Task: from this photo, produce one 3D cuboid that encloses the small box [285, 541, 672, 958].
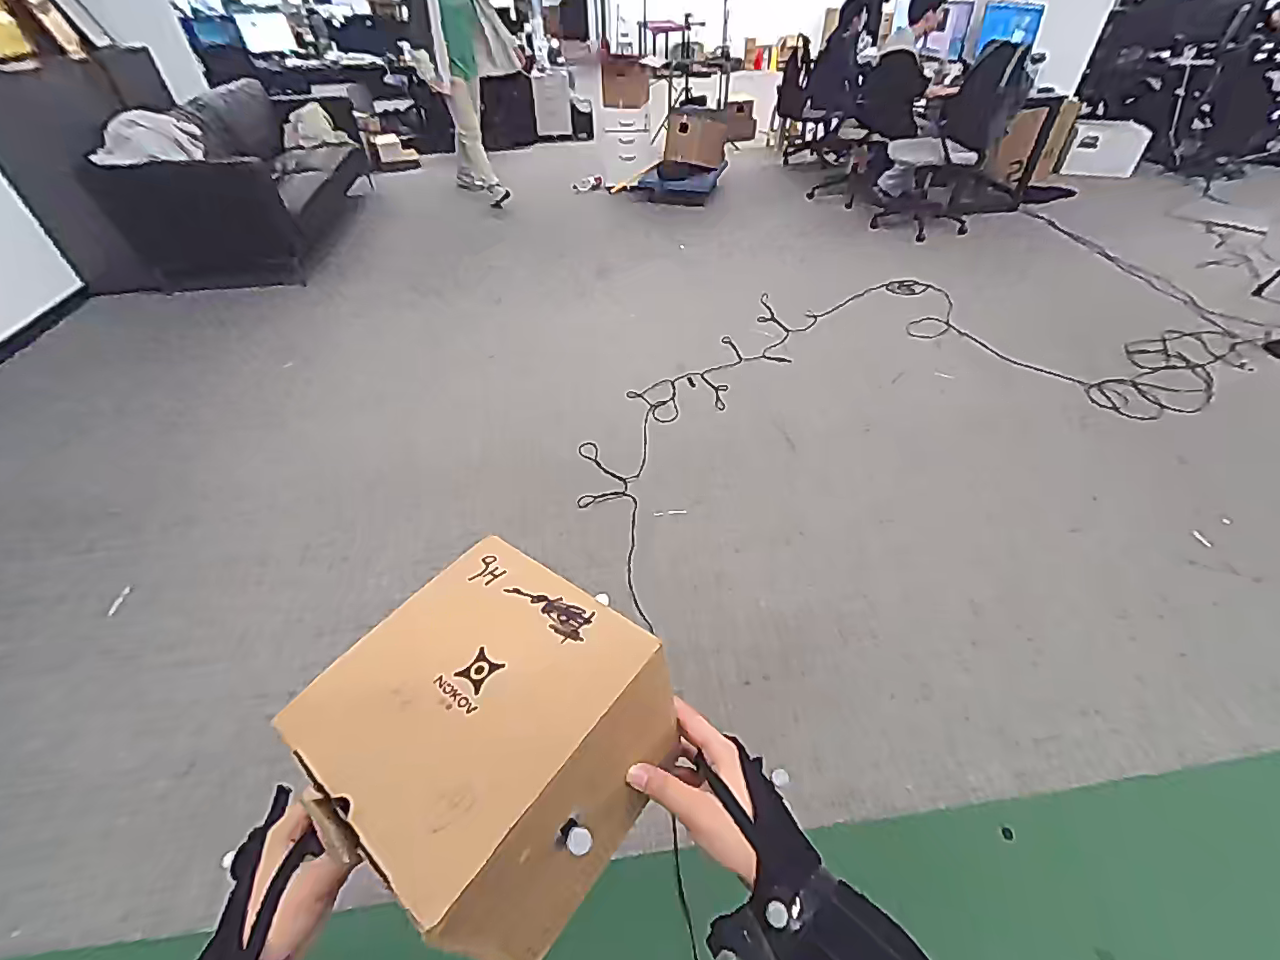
[{"bbox_3d":[-0.091,0.183,0.381,0.168,0.176,0.179,24,53,32],"label":"small box"}]
